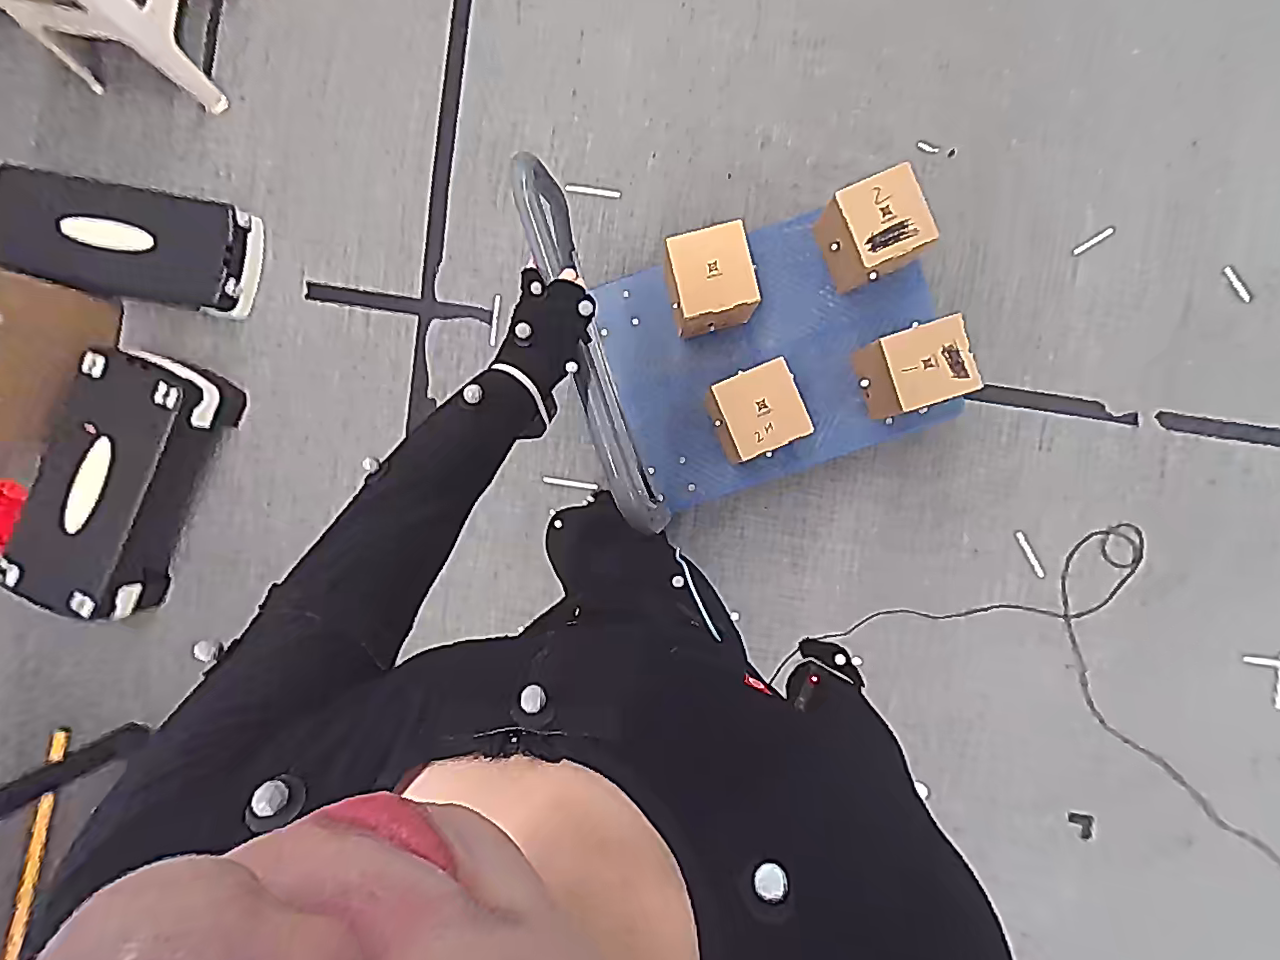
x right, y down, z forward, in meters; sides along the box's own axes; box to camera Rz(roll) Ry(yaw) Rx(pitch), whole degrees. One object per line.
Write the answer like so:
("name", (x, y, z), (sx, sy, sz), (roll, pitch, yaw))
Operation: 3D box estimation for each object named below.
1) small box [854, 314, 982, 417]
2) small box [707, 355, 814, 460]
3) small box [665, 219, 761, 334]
("small box", (0.607, -0.247, 1.201), (0.179, 0.176, 0.168), (-18, 90, 3))
("small box", (0.259, -0.153, 1.211), (0.168, 0.176, 0.179), (-23, 90, 2))
("small box", (0.155, -0.445, 1.209), (0.168, 0.176, 0.179), (-14, 92, 1))
